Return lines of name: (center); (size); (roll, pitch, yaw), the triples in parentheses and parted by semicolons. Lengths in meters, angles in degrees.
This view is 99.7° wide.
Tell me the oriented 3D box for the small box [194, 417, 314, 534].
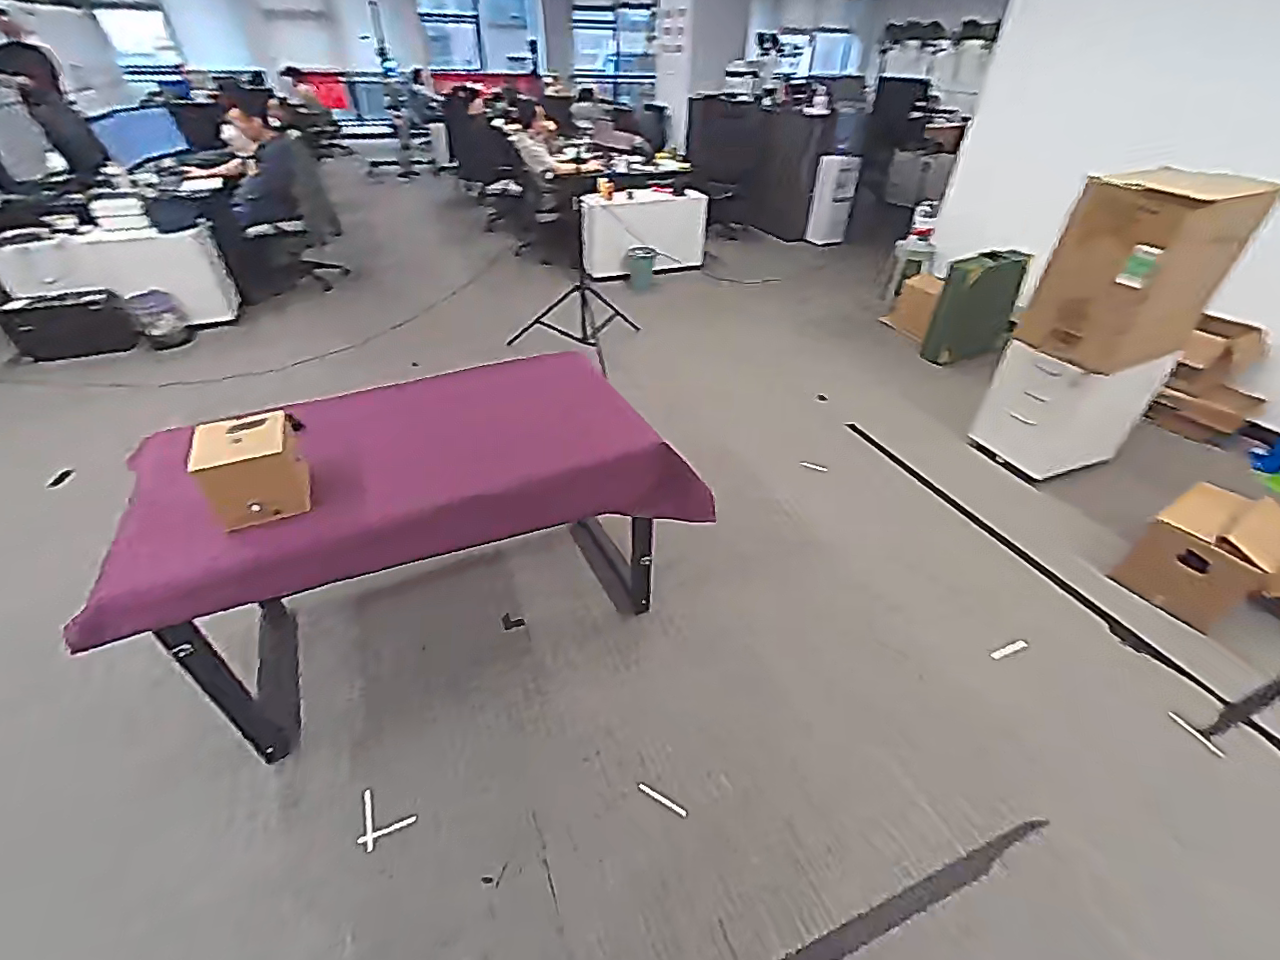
small box: (-0.837, -0.012, 1.191); (0.168, 0.176, 0.179); (-16, 42, -21)
